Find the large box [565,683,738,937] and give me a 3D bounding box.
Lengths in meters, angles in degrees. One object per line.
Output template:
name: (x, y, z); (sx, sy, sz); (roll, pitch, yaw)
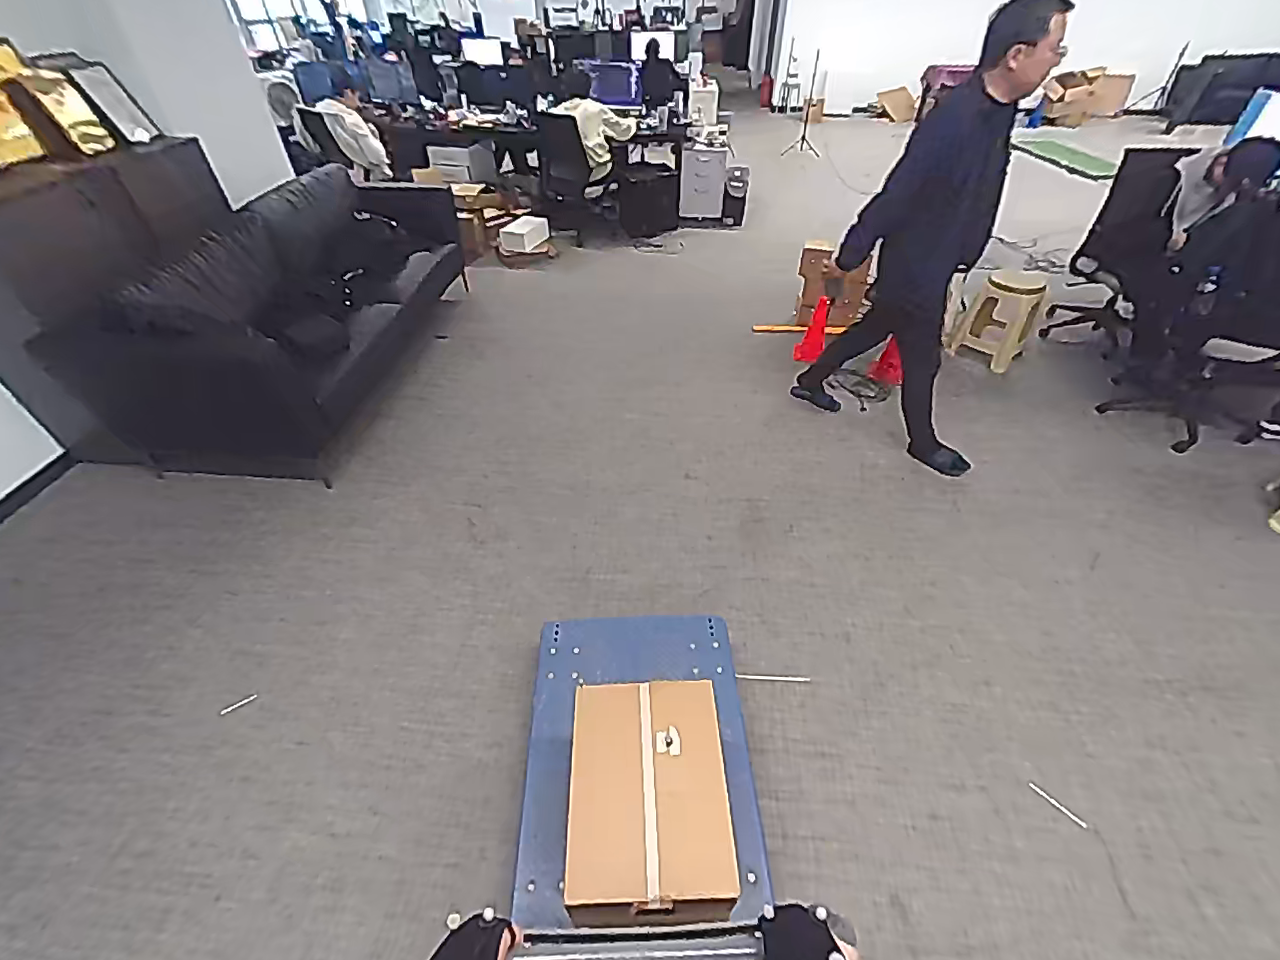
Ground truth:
large box: (0.016, 0.718, 1.195); (0.320, 0.320, 0.408); (-2, 42, -1)
